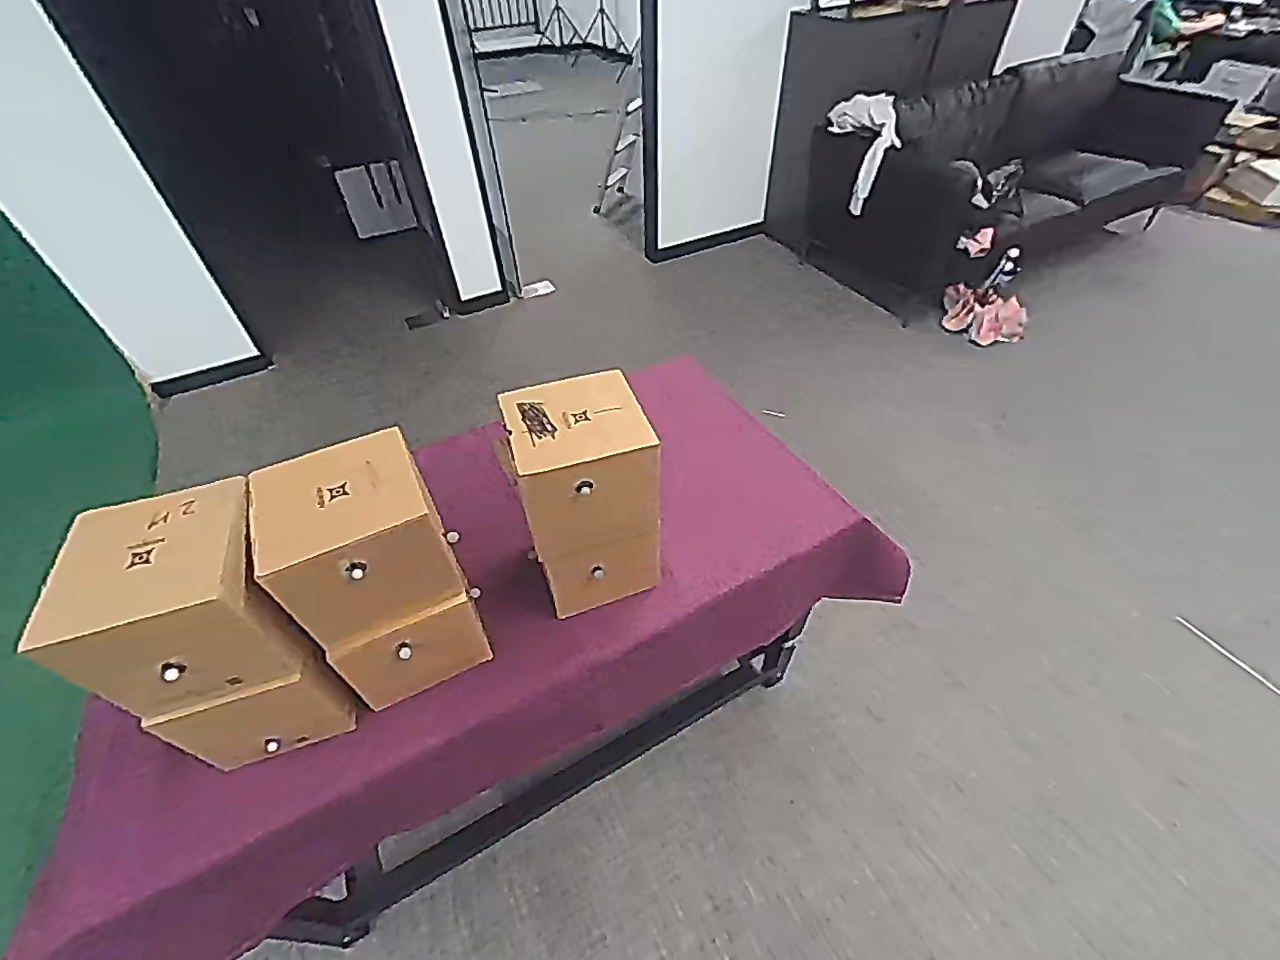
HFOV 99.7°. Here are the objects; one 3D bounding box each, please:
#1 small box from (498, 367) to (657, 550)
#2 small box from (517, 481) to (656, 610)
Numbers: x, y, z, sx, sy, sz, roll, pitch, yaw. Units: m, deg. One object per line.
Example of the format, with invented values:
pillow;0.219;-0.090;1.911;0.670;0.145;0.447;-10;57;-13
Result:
small box;-0.082;-0.027;0.741;0.179;0.176;0.168;-14;48;-13
small box;-0.080;0.082;0.864;0.179;0.176;0.168;-16;49;-13
